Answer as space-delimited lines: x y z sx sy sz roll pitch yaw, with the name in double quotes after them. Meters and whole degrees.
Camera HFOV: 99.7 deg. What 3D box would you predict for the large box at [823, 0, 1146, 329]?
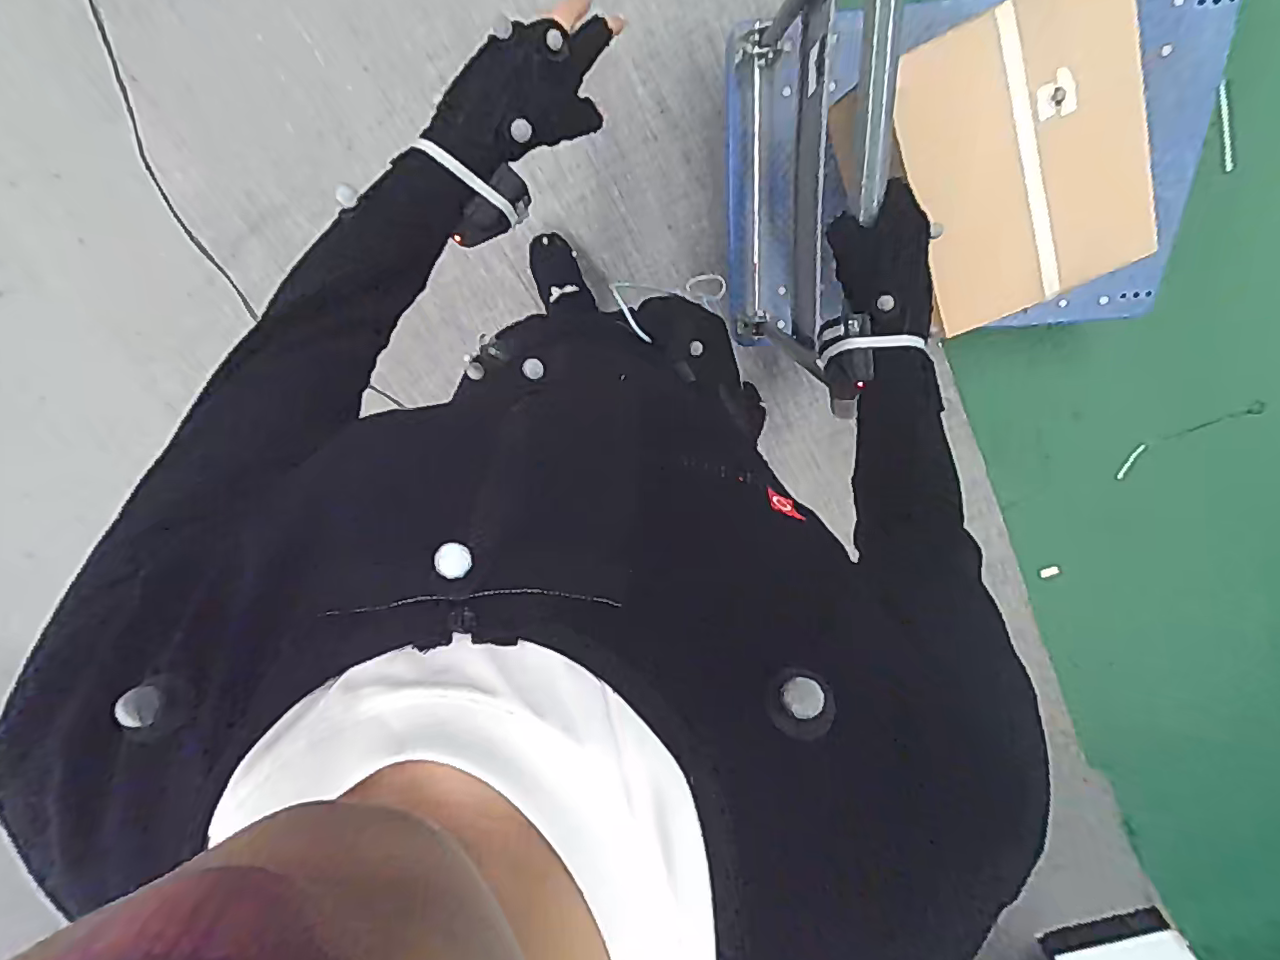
0.548 -0.521 0.913 0.320 0.320 0.408 -22 111 12 "large box"
